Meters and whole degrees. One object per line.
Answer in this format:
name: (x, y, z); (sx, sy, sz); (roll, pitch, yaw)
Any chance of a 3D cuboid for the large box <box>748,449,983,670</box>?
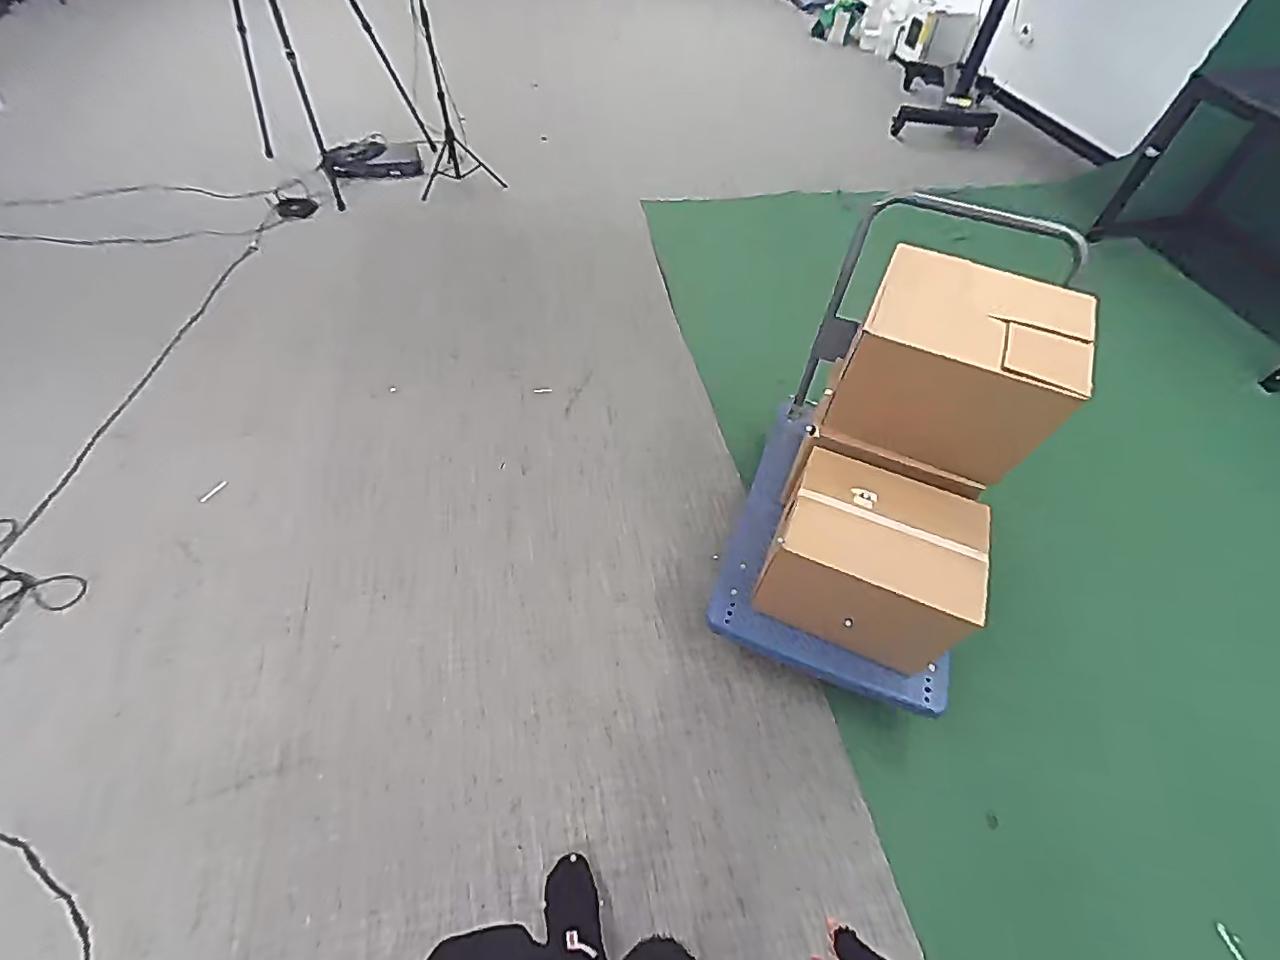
large box: (0.514, 0.189, 1.273); (0.408, 0.320, 0.320); (21, 55, 13)
